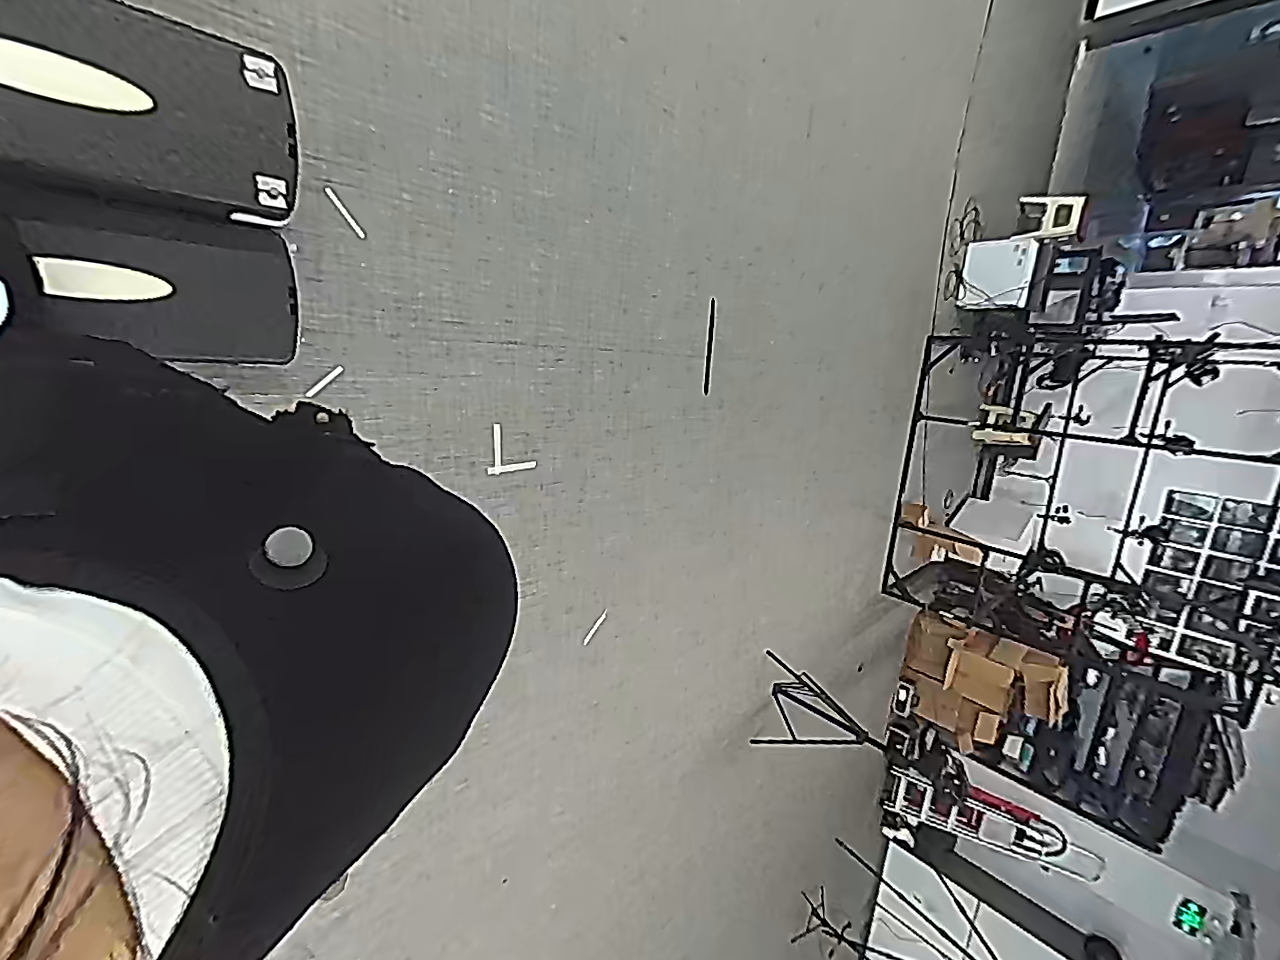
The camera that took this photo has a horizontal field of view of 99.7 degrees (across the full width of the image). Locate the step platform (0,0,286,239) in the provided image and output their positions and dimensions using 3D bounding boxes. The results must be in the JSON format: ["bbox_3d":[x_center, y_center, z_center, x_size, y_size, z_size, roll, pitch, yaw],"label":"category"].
[{"bbox_3d":[-0.976,-0.595,0.867,0.684,0.204,0.286,-10,110,-44],"label":"step platform"}]
